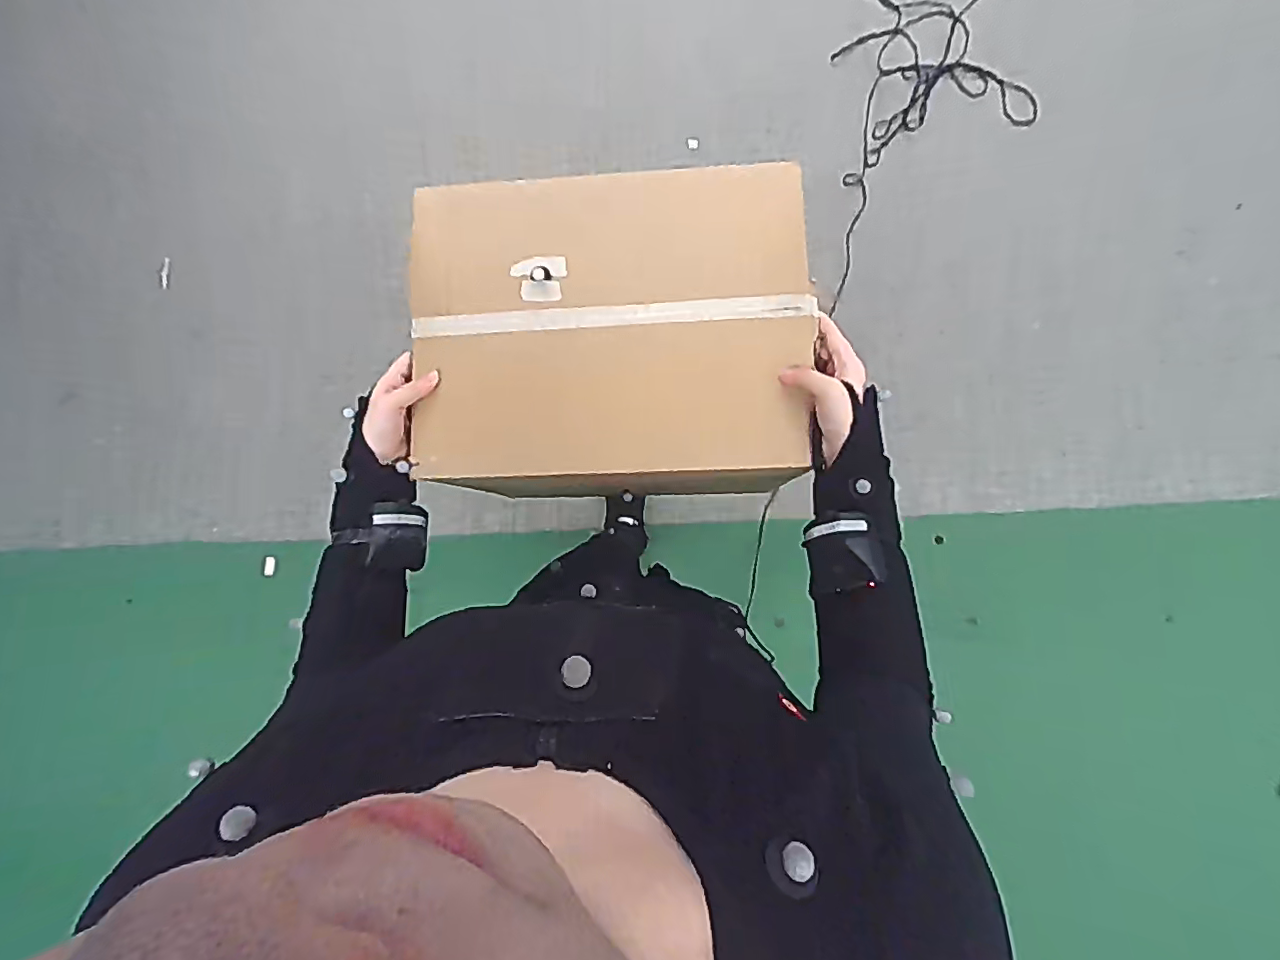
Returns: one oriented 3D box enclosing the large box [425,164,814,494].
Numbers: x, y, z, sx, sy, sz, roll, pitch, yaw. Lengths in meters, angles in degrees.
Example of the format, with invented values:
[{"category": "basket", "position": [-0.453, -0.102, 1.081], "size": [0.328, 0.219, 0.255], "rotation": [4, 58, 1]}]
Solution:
[{"category": "large box", "position": [-0.015, -0.151, 0.708], "size": [0.408, 0.320, 0.320], "rotation": [-2, 83, 6]}]
